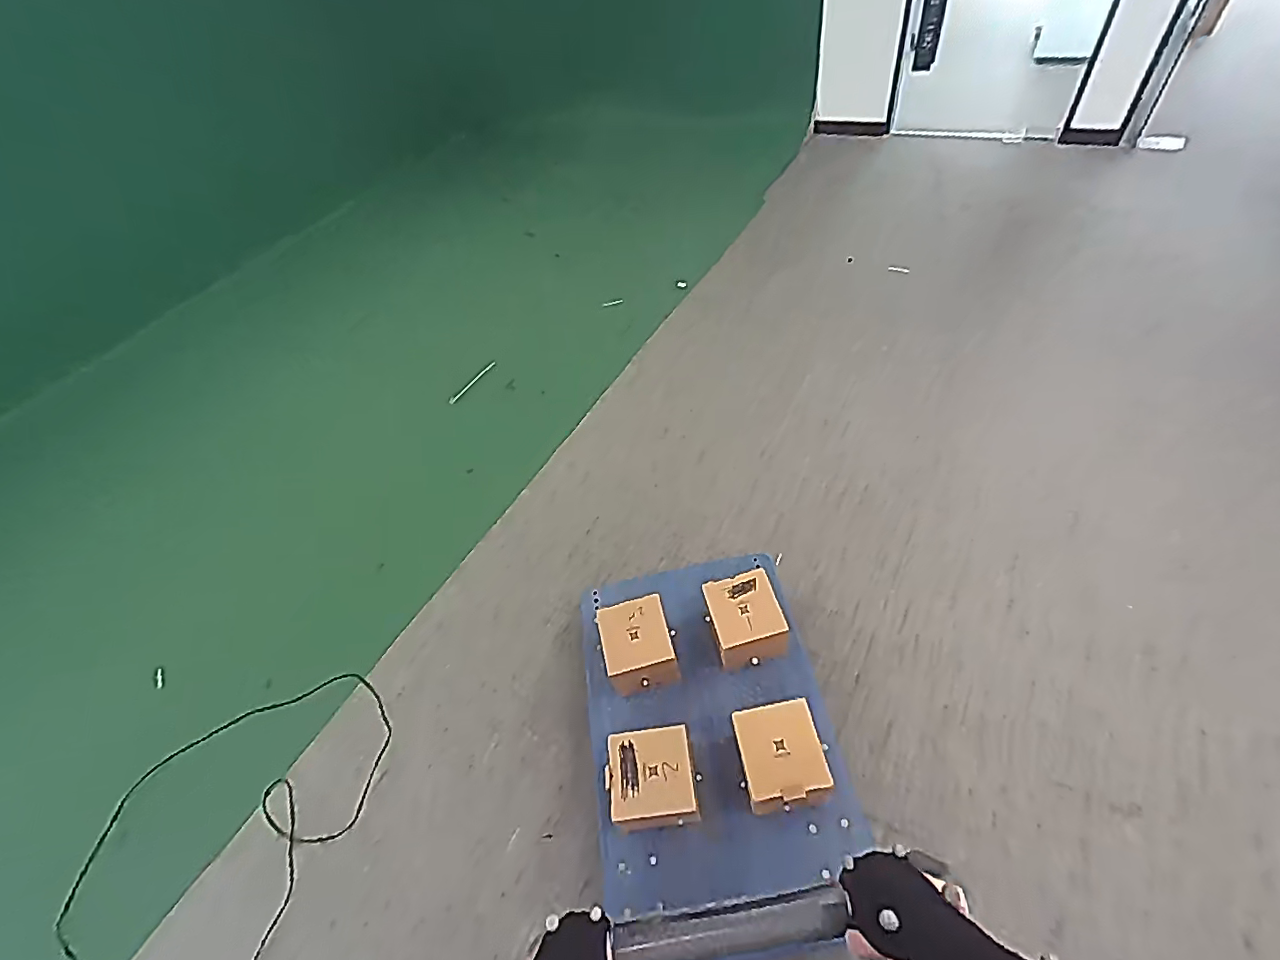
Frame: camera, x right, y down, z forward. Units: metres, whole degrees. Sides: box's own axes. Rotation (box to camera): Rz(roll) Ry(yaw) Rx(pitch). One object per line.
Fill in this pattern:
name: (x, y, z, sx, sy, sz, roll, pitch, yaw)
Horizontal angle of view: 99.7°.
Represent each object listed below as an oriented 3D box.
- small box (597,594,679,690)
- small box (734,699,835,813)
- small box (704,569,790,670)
small box: (-0.002, 0.420, 1.380, 0.168, 0.176, 0.179, -14, 52, -1)
small box: (0.304, 0.603, 1.179, 0.168, 0.176, 0.179, -13, 52, 2)
small box: (0.267, 0.357, 1.377, 0.168, 0.176, 0.179, -15, 52, 0)
